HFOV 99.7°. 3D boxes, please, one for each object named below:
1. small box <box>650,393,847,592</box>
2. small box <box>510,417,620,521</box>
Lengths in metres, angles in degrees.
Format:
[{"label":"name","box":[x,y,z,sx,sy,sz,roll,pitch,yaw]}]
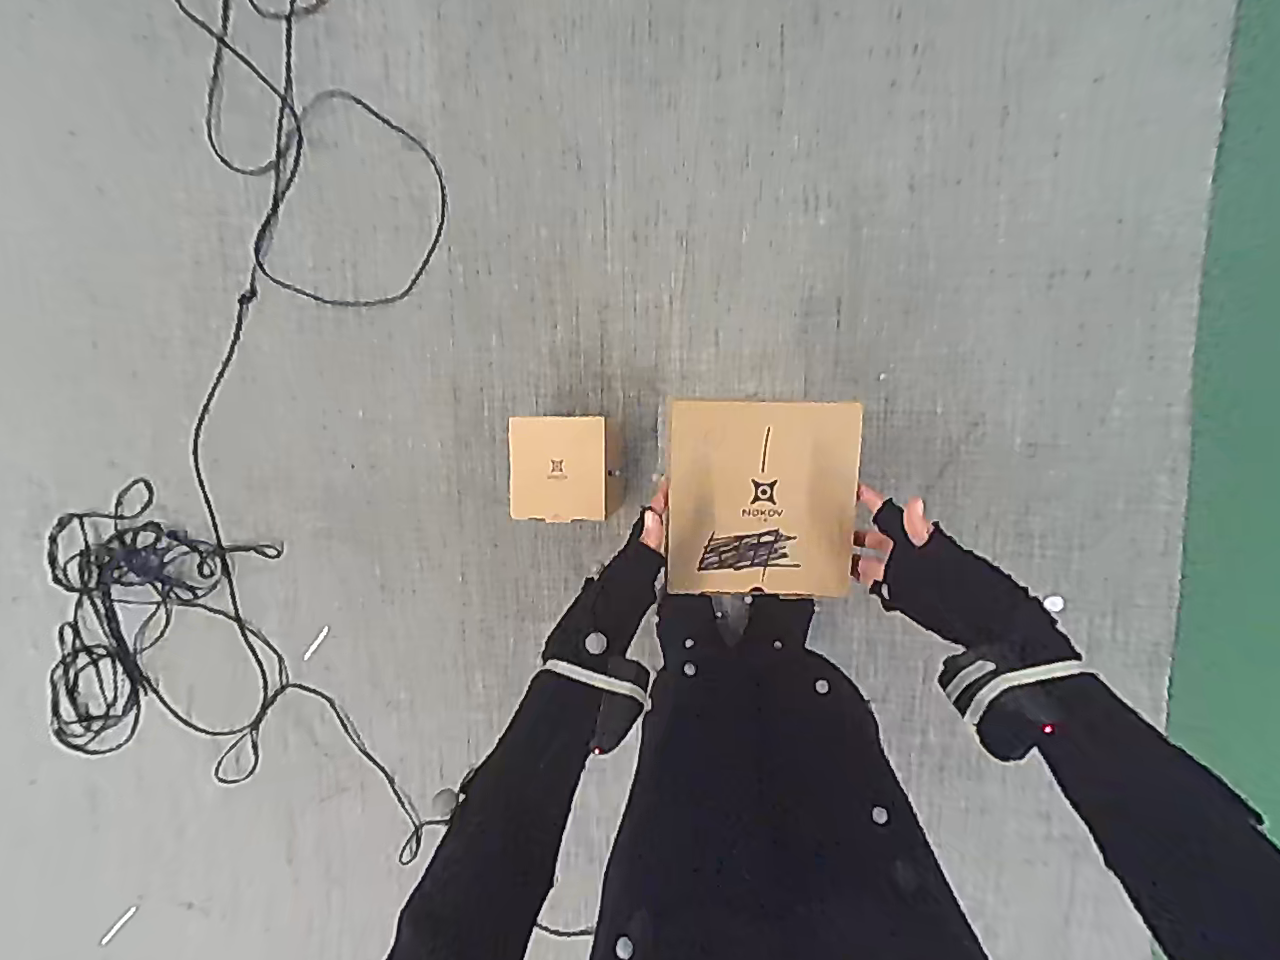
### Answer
[{"label":"small box","box":[0.098,0.001,0.559,0.168,0.176,0.179,2,98,2]},{"label":"small box","box":[-0.132,-0.022,0.996,0.168,0.176,0.179,0,94,7]}]
